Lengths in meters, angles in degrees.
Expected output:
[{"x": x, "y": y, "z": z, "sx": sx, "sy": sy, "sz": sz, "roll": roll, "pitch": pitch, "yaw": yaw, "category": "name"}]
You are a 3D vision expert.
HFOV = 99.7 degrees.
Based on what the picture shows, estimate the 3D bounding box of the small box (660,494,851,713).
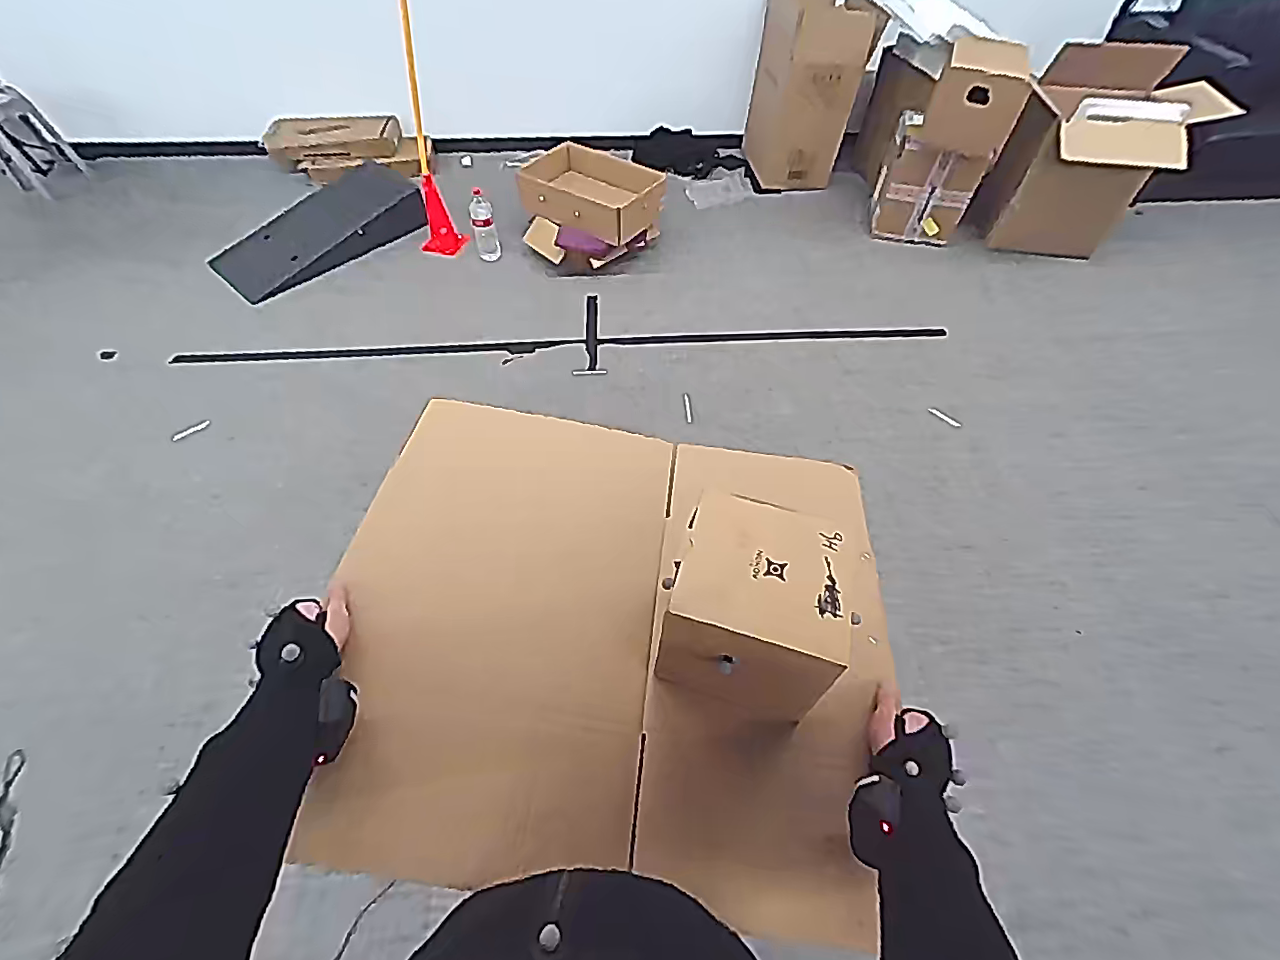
[{"x": 0.127, "y": 0.146, "z": 0.624, "sx": 0.179, "sy": 0.176, "sz": 0.168, "roll": 14, "pitch": 51, "yaw": 10, "category": "small box"}]
